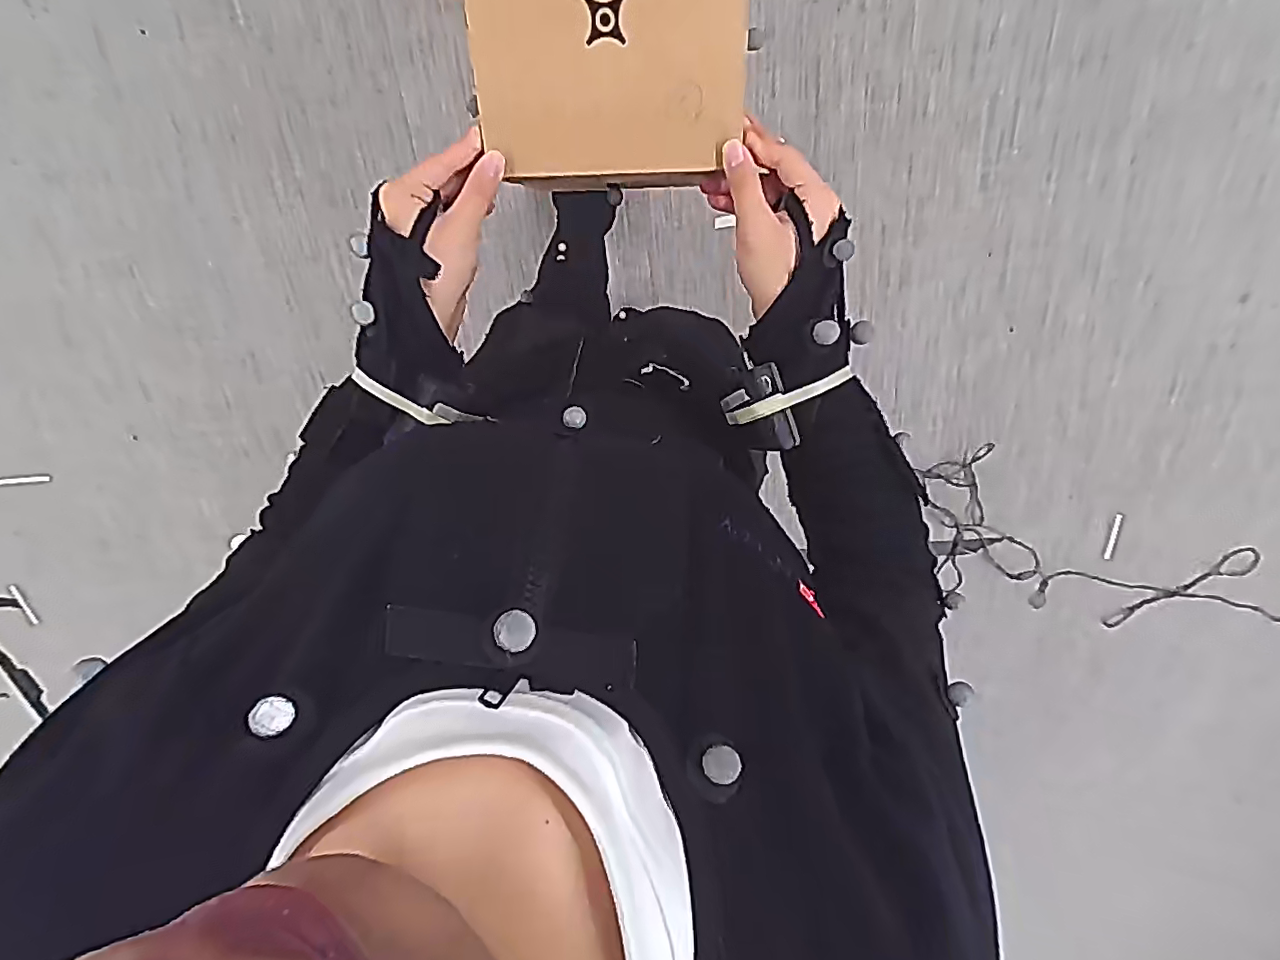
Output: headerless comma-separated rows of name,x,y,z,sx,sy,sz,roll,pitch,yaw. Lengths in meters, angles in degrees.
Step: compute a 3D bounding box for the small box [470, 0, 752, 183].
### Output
small box,-0.014,-0.312,0.381,0.168,0.176,0.179,0,115,2
